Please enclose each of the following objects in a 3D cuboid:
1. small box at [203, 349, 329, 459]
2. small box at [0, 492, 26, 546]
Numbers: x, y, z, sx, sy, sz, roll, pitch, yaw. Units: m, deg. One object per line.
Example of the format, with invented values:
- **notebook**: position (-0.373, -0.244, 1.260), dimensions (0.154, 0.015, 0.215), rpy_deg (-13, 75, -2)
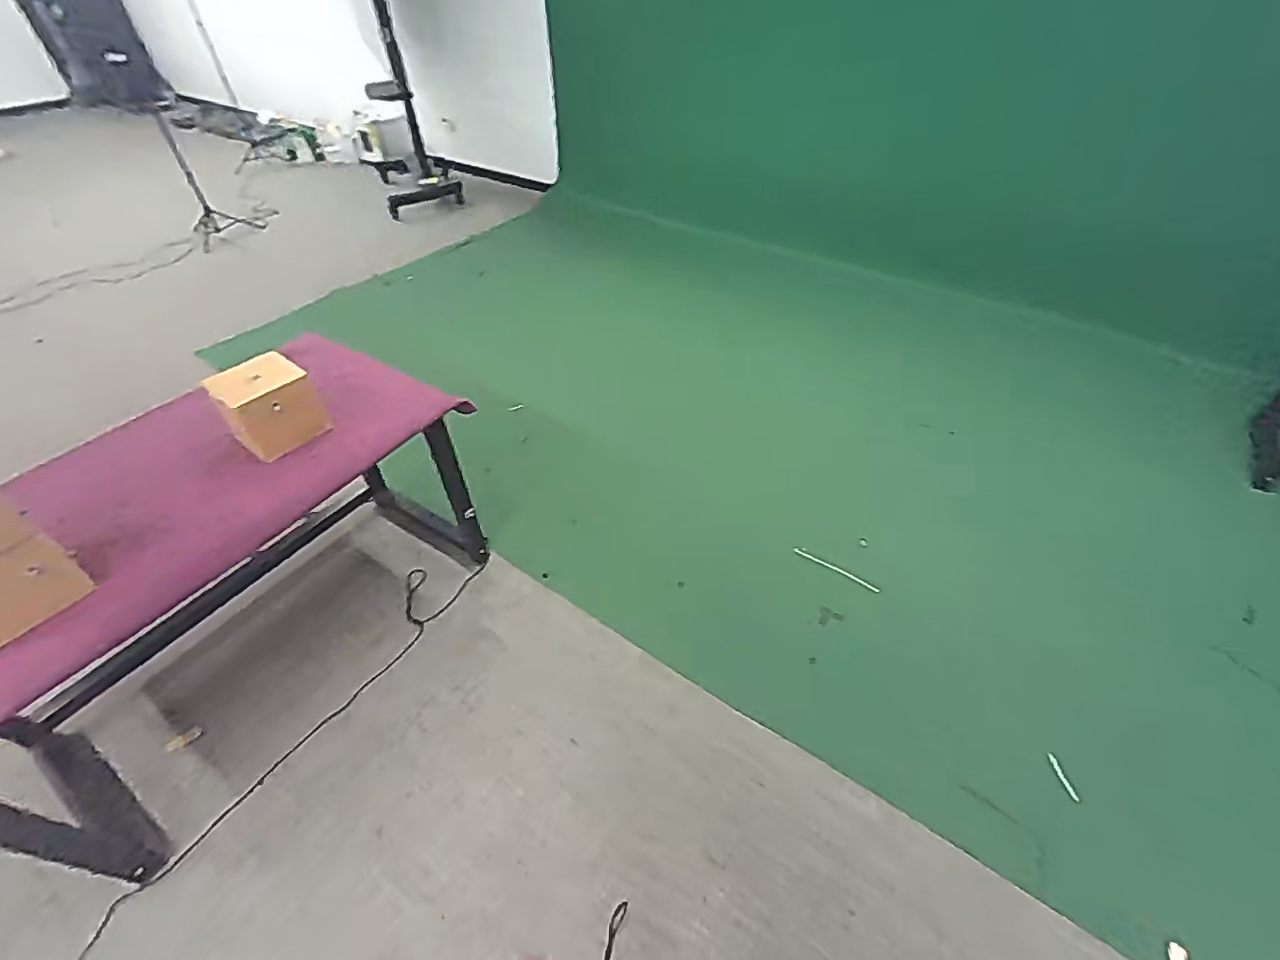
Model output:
- **small box**: position (-0.892, -0.184, 1.312), dimensions (0.168, 0.176, 0.179), rpy_deg (30, 53, 25)
- **small box**: position (-1.142, 0.044, 0.846), dimensions (0.168, 0.176, 0.179), rpy_deg (24, 49, 21)
